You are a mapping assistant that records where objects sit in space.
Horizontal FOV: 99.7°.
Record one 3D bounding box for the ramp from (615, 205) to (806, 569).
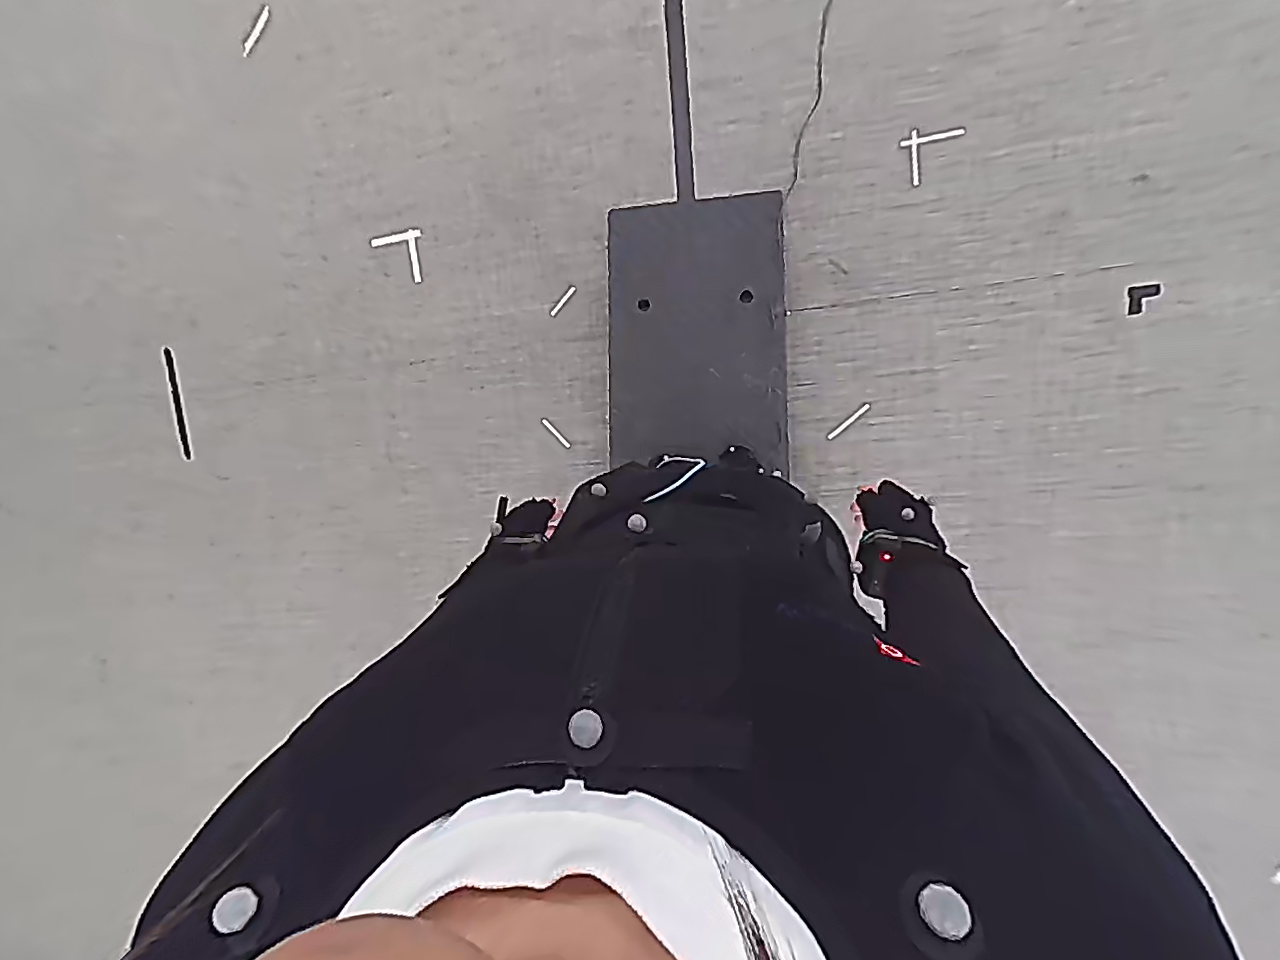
[{"bbox_3d":[0.177,-0.258,1.503,0.509,0.206,0.991,-5,94,12],"label":"ramp"}]
